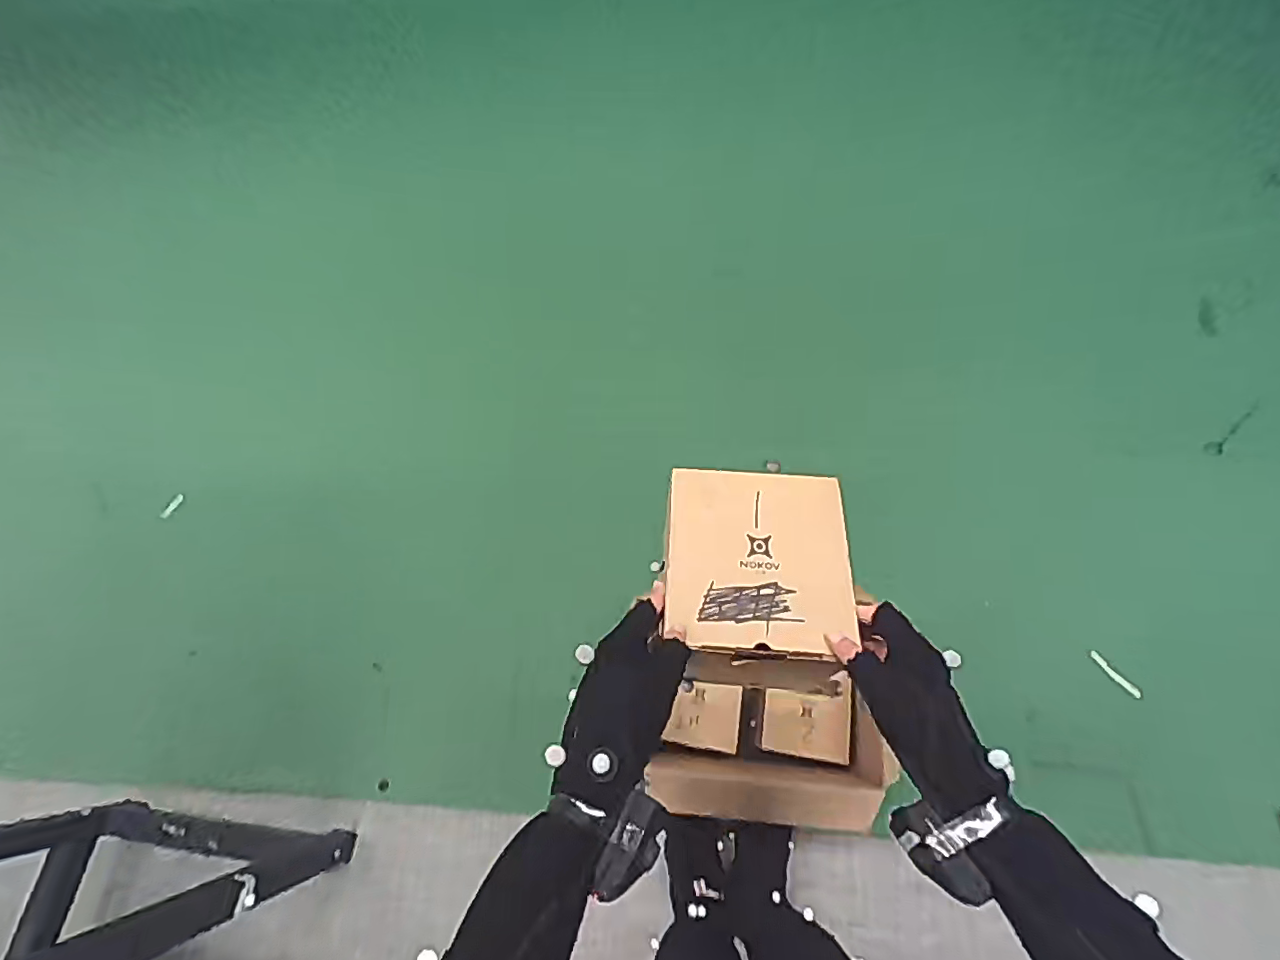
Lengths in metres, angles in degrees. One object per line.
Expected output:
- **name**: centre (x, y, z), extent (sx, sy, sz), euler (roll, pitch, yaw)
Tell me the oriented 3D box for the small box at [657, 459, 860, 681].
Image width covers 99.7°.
- **small box**: centre (0.105, 0.098, 0.547), extent (0.168, 0.176, 0.179), euler (4, 61, 2)
